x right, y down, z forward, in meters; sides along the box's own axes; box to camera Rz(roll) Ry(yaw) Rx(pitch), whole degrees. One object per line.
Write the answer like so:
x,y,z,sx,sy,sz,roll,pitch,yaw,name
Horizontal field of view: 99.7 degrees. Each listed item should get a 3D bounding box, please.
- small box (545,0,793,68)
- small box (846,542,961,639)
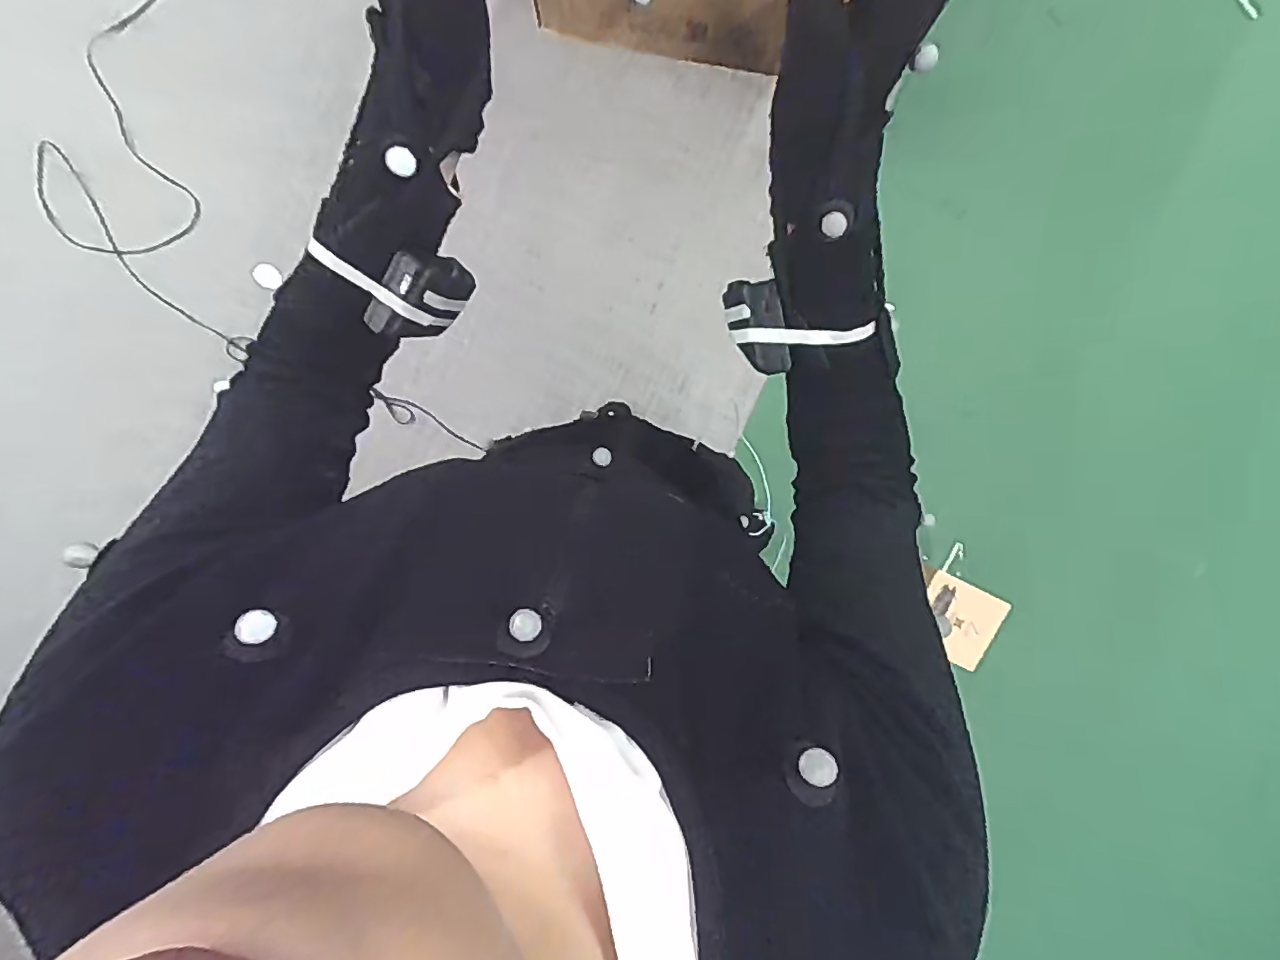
0.026,-0.380,0.291,0.168,0.176,0.179,9,91,-1,small box
0.661,0.272,1.384,0.179,0.176,0.168,27,96,-1,small box
